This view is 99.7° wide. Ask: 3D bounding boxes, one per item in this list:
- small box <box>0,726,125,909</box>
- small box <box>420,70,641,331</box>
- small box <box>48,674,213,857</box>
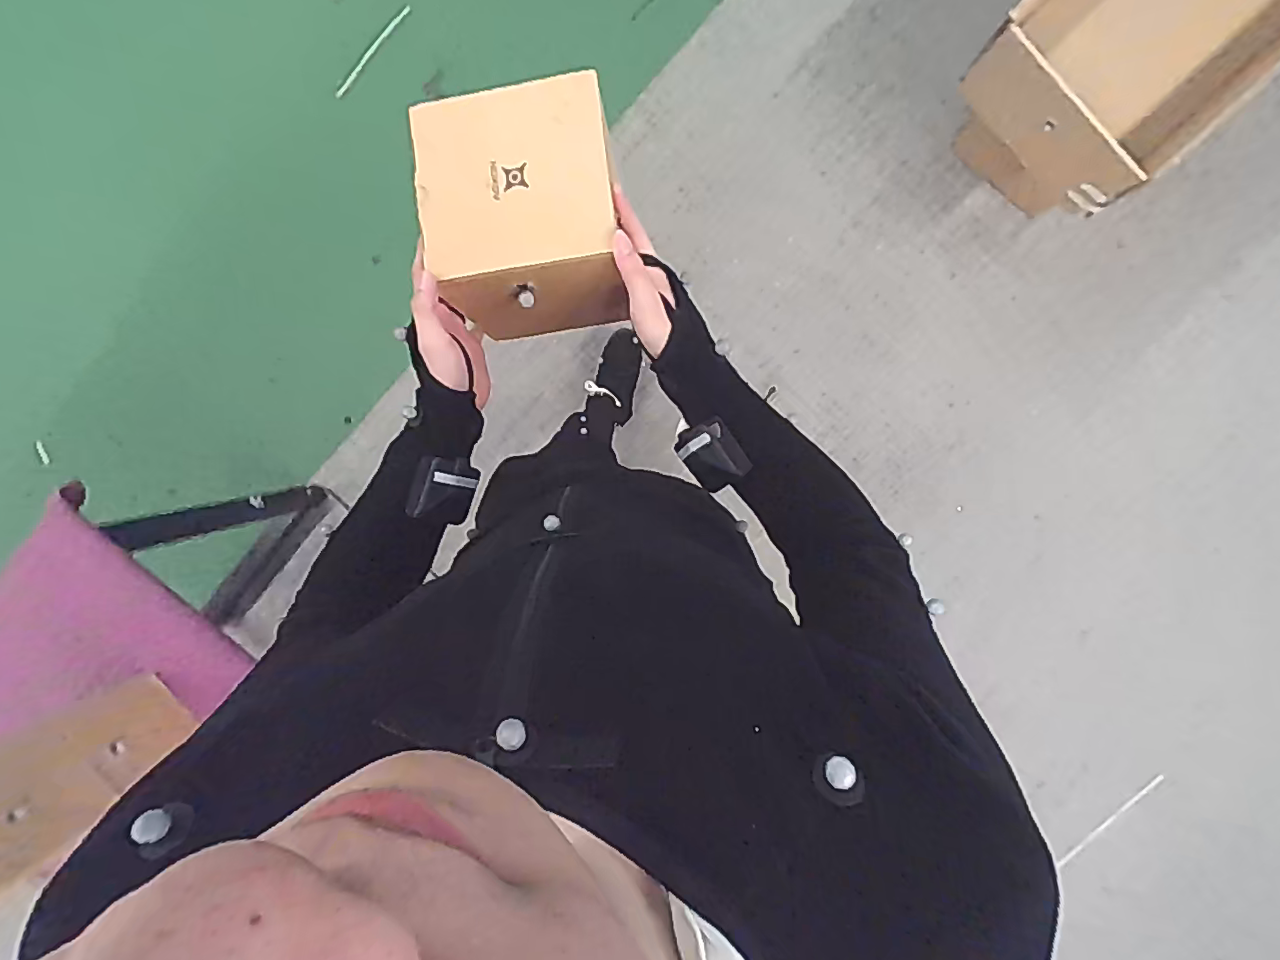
[{"bbox_3d":[-0.891,0.486,0.745,0.168,0.176,0.179,-40,95,6],"label":"small box"},{"bbox_3d":[-0.095,-0.262,0.550,0.179,0.176,0.168,-6,88,7],"label":"small box"},{"bbox_3d":[-0.884,0.466,0.907,0.168,0.176,0.179,-37,94,6],"label":"small box"}]
